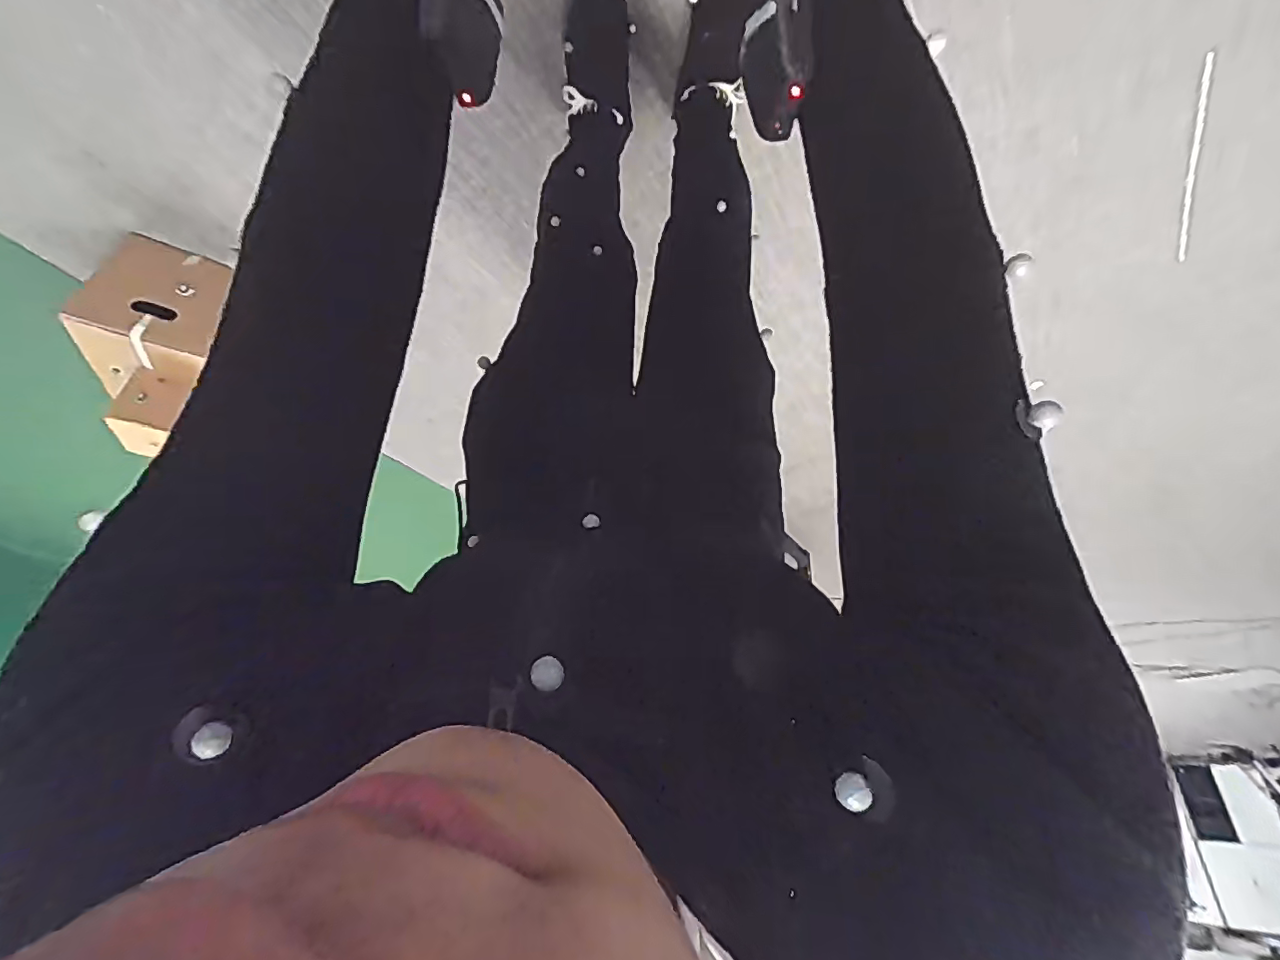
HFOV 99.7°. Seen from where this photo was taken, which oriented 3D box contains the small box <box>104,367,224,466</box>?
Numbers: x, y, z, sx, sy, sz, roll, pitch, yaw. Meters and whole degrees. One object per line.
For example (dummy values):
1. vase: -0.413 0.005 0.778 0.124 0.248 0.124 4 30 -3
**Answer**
1. small box: -1.239 -0.167 1.423 0.168 0.176 0.179 16 148 -19
